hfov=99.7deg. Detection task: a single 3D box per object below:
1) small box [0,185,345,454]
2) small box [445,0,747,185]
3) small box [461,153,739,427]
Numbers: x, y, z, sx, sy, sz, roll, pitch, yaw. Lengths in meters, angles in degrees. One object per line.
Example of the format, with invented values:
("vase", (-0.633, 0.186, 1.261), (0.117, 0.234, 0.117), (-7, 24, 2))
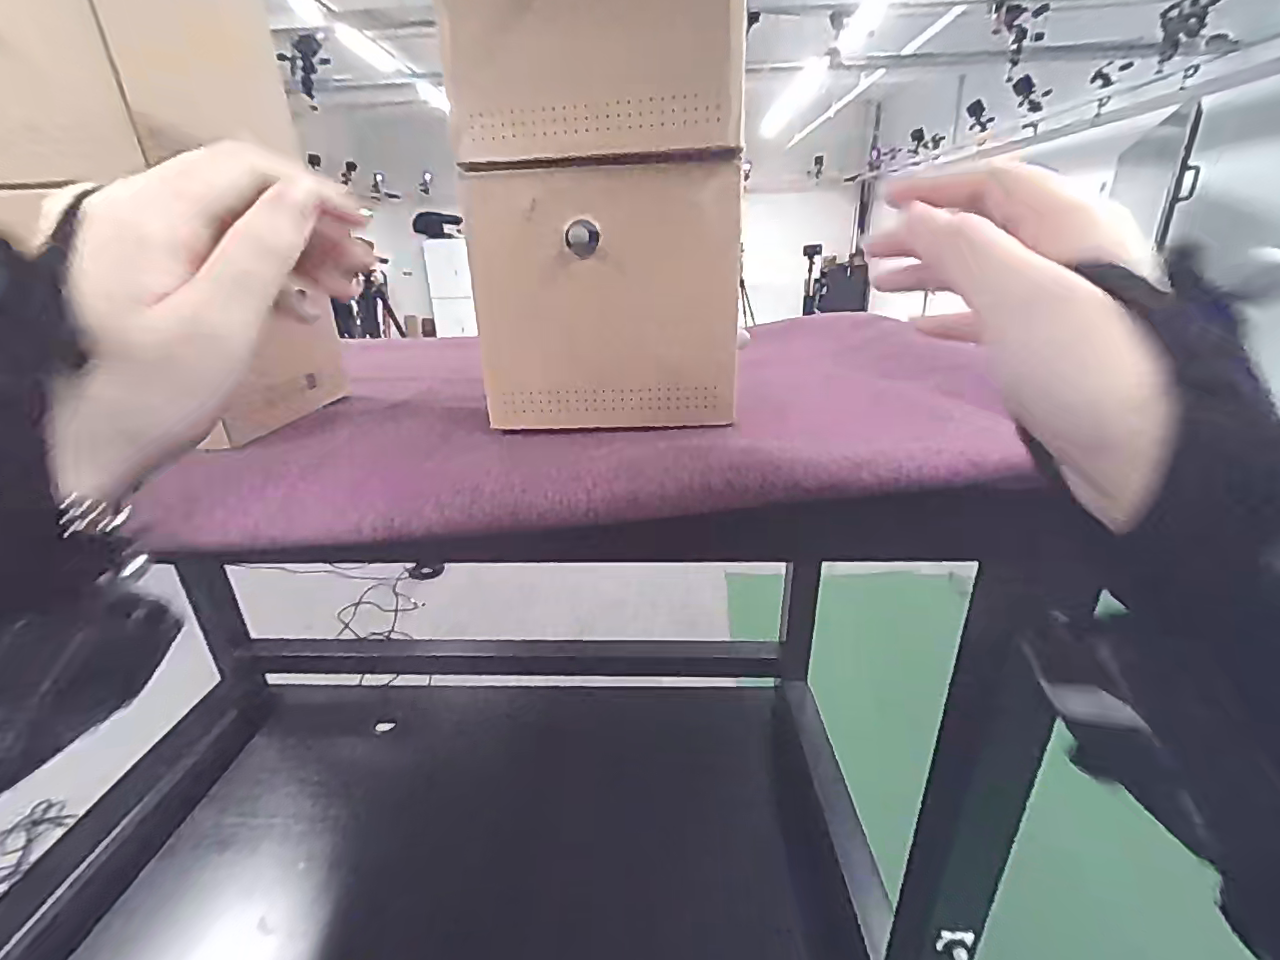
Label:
("small box", (-0.366, -0.125, 0.422), (0.179, 0.176, 0.168), (-2, 23, 2))
("small box", (-0.020, -0.293, 0.365), (0.179, 0.176, 0.168), (0, 21, 7))
("small box", (-0.018, -0.141, 0.428), (0.179, 0.176, 0.168), (0, 21, 4))
